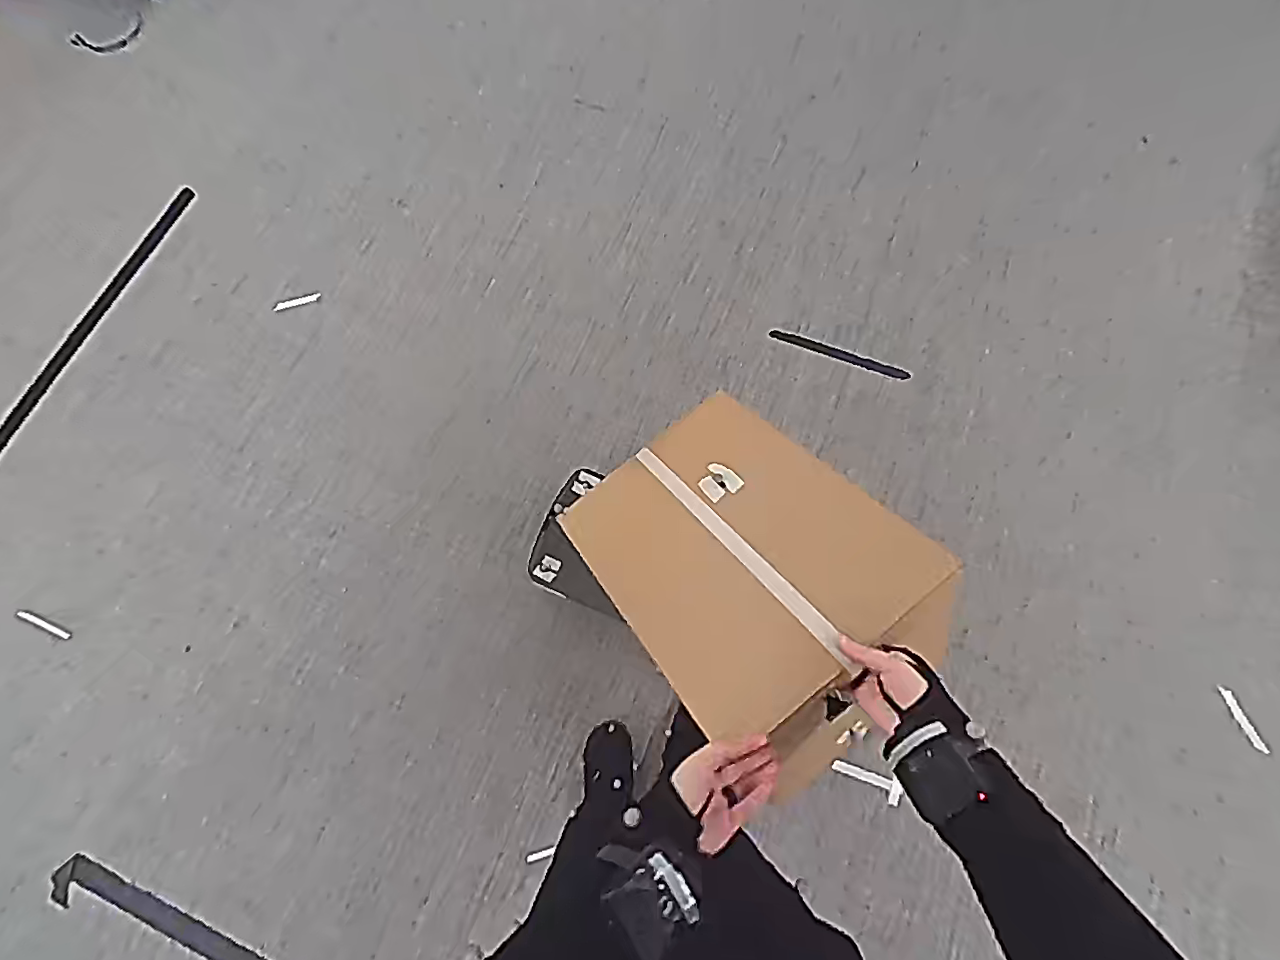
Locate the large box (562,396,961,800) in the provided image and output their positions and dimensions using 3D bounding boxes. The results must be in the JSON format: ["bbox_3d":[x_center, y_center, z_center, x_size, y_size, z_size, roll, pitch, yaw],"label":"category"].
[{"bbox_3d":[0.163,0.157,0.768,0.320,0.320,0.408,-38,48,-6],"label":"large box"}]
